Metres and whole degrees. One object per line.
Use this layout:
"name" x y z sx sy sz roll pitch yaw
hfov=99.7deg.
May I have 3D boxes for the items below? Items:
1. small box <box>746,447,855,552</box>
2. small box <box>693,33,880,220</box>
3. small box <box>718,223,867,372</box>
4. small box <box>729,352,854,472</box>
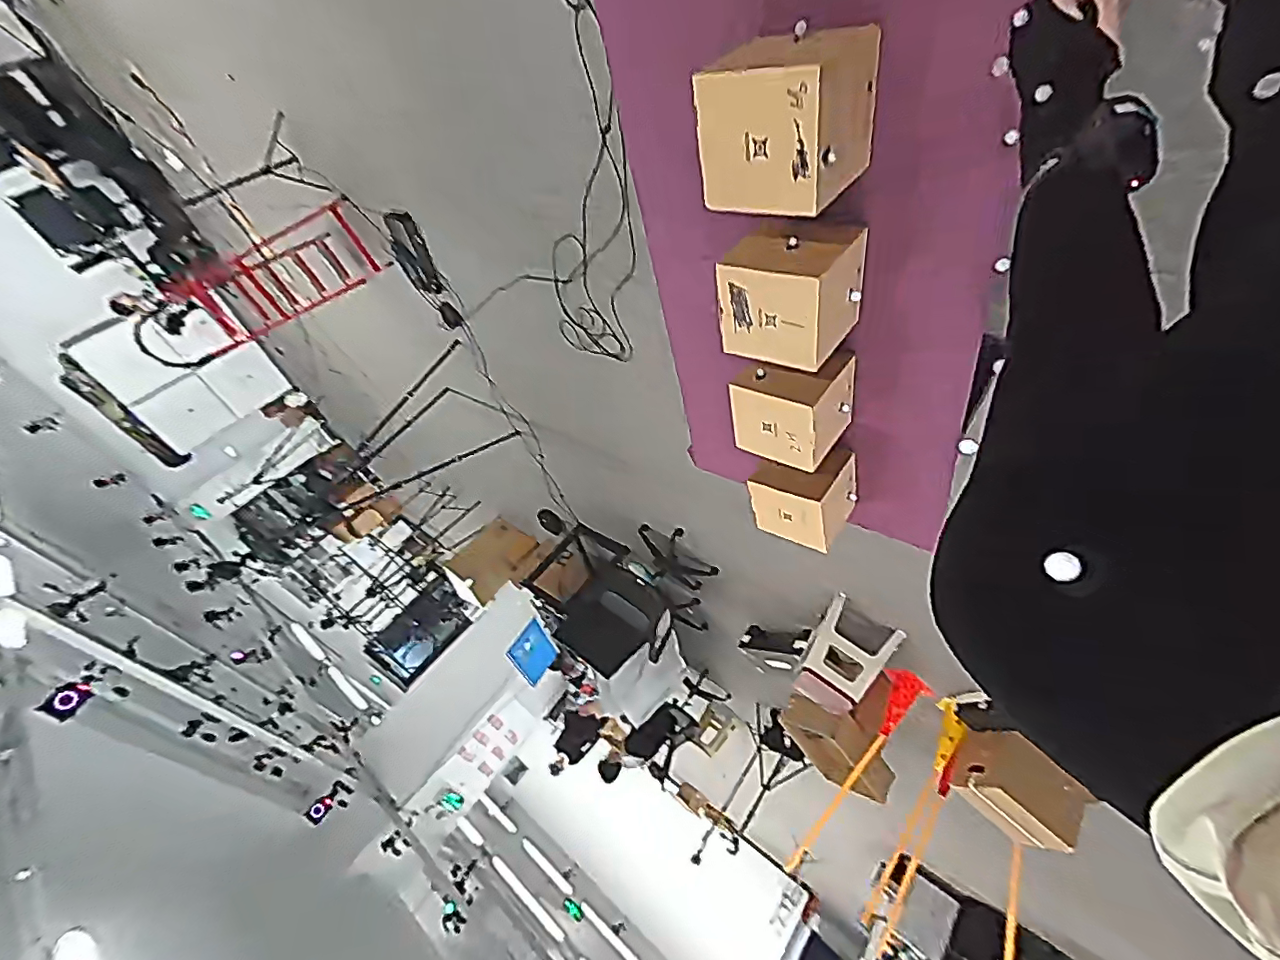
"small box" 0.369 0.028 1.230 0.179 0.176 0.168 19 145 38
"small box" 0.198 -0.480 0.736 0.179 0.176 0.168 25 148 33
"small box" 0.252 -0.311 0.905 0.179 0.176 0.168 24 147 32
"small box" 0.299 -0.150 1.070 0.179 0.176 0.168 23 147 34
